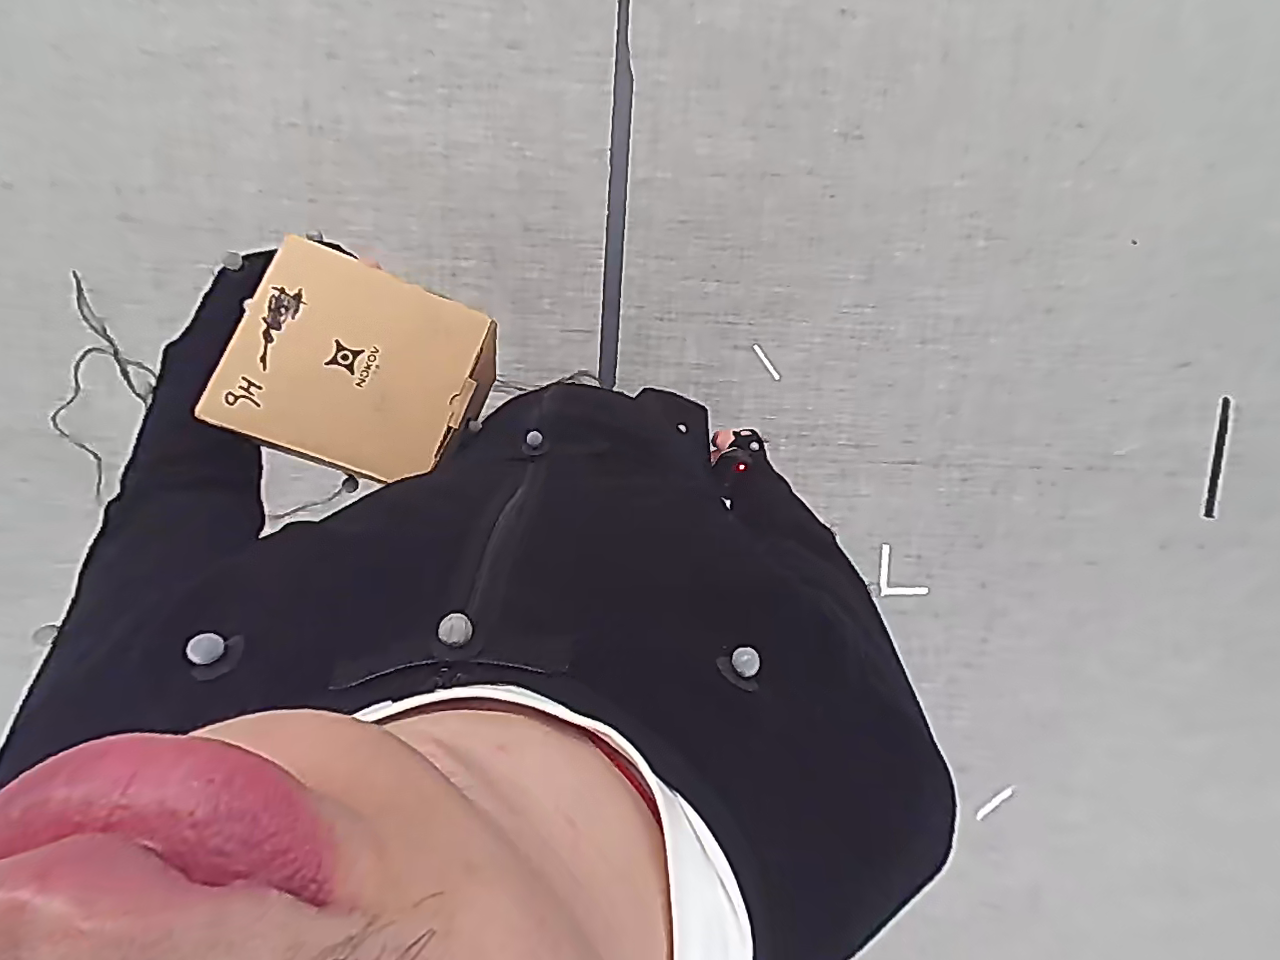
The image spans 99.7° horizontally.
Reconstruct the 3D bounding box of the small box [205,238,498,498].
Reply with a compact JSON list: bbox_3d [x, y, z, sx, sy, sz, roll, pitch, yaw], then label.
[{"bbox_3d":[-0.250,-0.086,0.522,0.179,0.176,0.168,21,78,-13],"label":"small box"}]
